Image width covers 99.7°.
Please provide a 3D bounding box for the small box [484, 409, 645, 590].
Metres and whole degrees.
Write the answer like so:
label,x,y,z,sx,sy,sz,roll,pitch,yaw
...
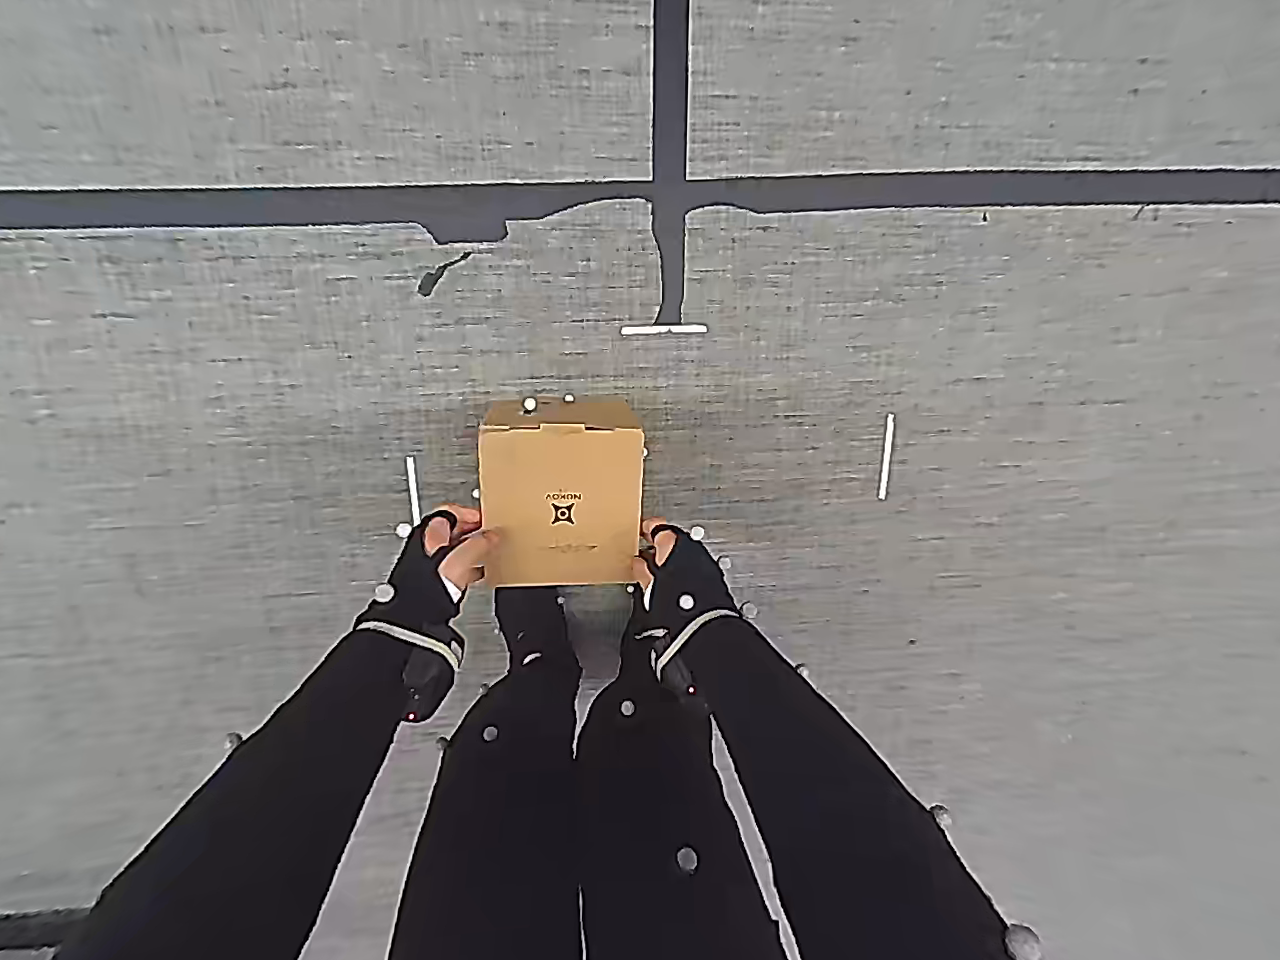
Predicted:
label,x,y,z,sx,sy,sz,roll,pitch,yaw
small box,-0.088,0.013,0.646,0.168,0.176,0.179,0,108,-6
